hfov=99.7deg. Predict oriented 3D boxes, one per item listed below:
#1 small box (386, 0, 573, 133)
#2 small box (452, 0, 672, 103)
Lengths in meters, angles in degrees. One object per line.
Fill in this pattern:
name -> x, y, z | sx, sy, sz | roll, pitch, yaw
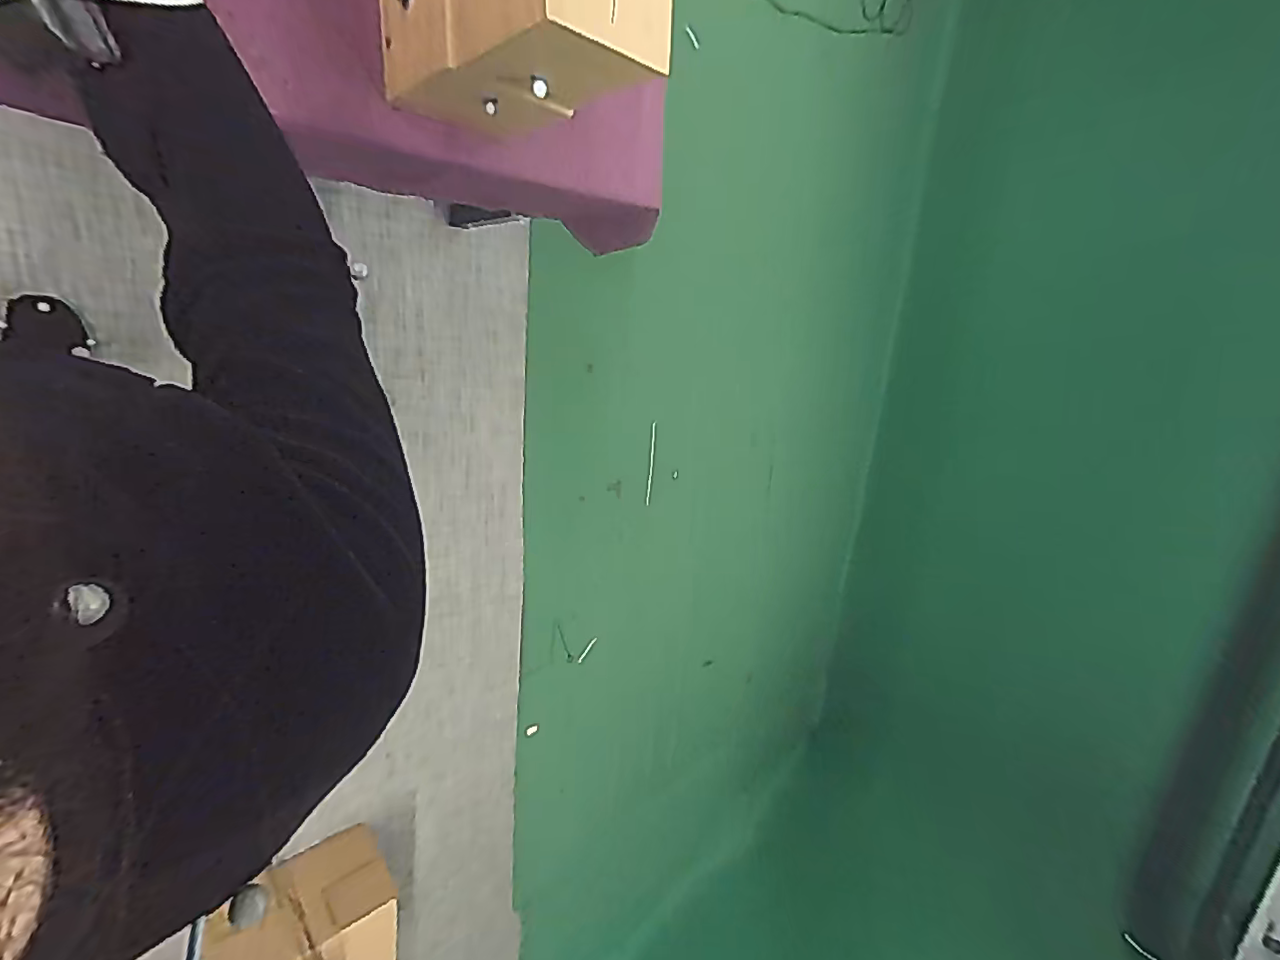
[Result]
small box -> -0.199, -0.553, 0.664 | 0.179, 0.176, 0.168 | -13, 112, -44
small box -> -0.082, -0.524, 0.552 | 0.168, 0.176, 0.179 | -16, 115, -43
